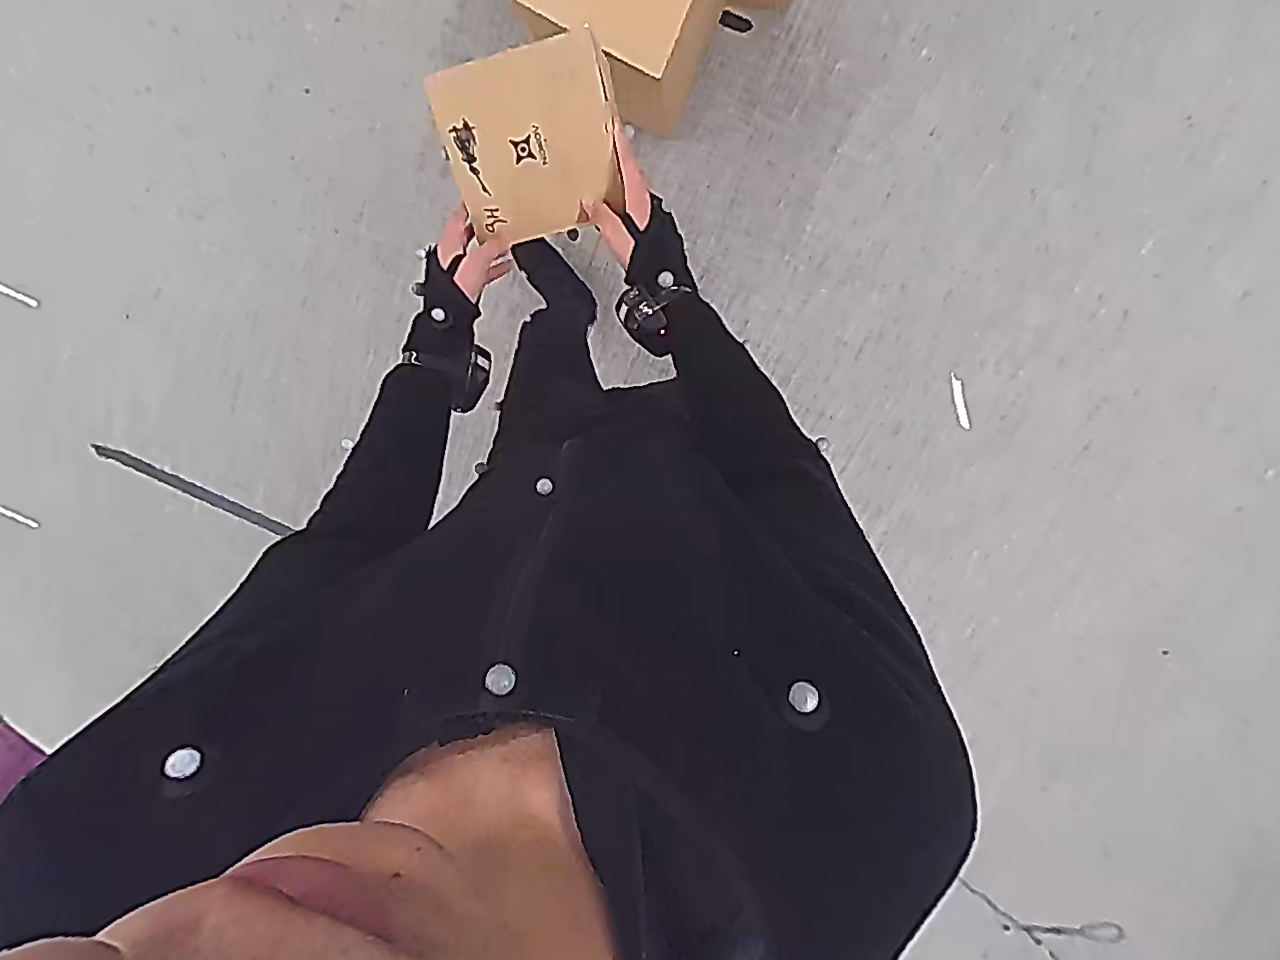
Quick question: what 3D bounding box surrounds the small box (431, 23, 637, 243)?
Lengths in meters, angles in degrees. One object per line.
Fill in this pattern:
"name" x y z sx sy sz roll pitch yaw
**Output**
"small box" -0.103 -0.385 0.621 0.179 0.176 0.168 -10 118 7
